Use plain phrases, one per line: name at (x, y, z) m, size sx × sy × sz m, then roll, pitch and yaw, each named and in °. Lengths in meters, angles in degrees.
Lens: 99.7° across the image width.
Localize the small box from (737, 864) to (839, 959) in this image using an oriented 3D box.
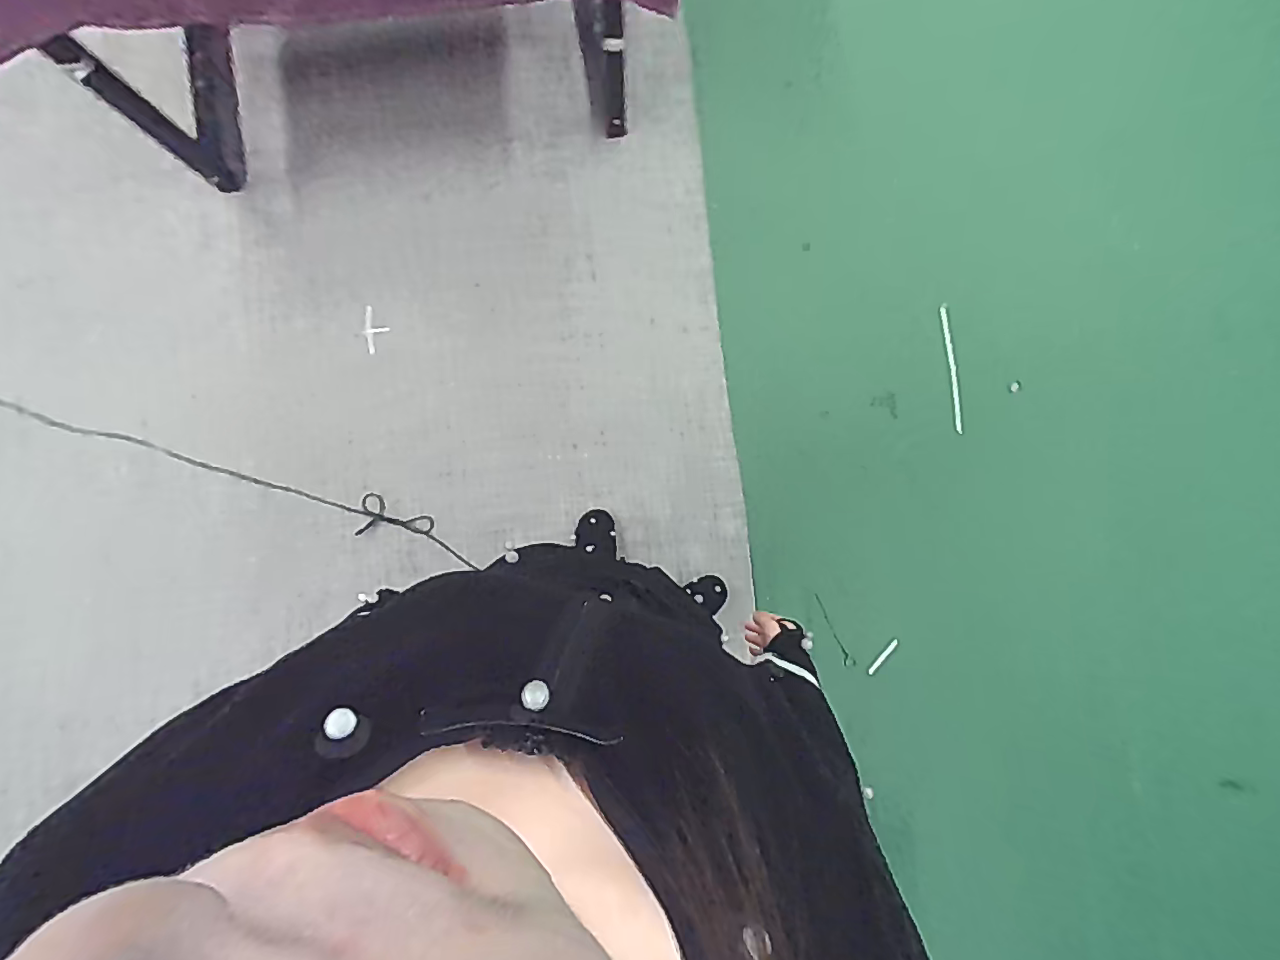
small box at (0.317, 0.976, 1.180) m, size 0.179 × 0.176 × 0.168 m, roll 1°, pitch 87°, yaw -1°
